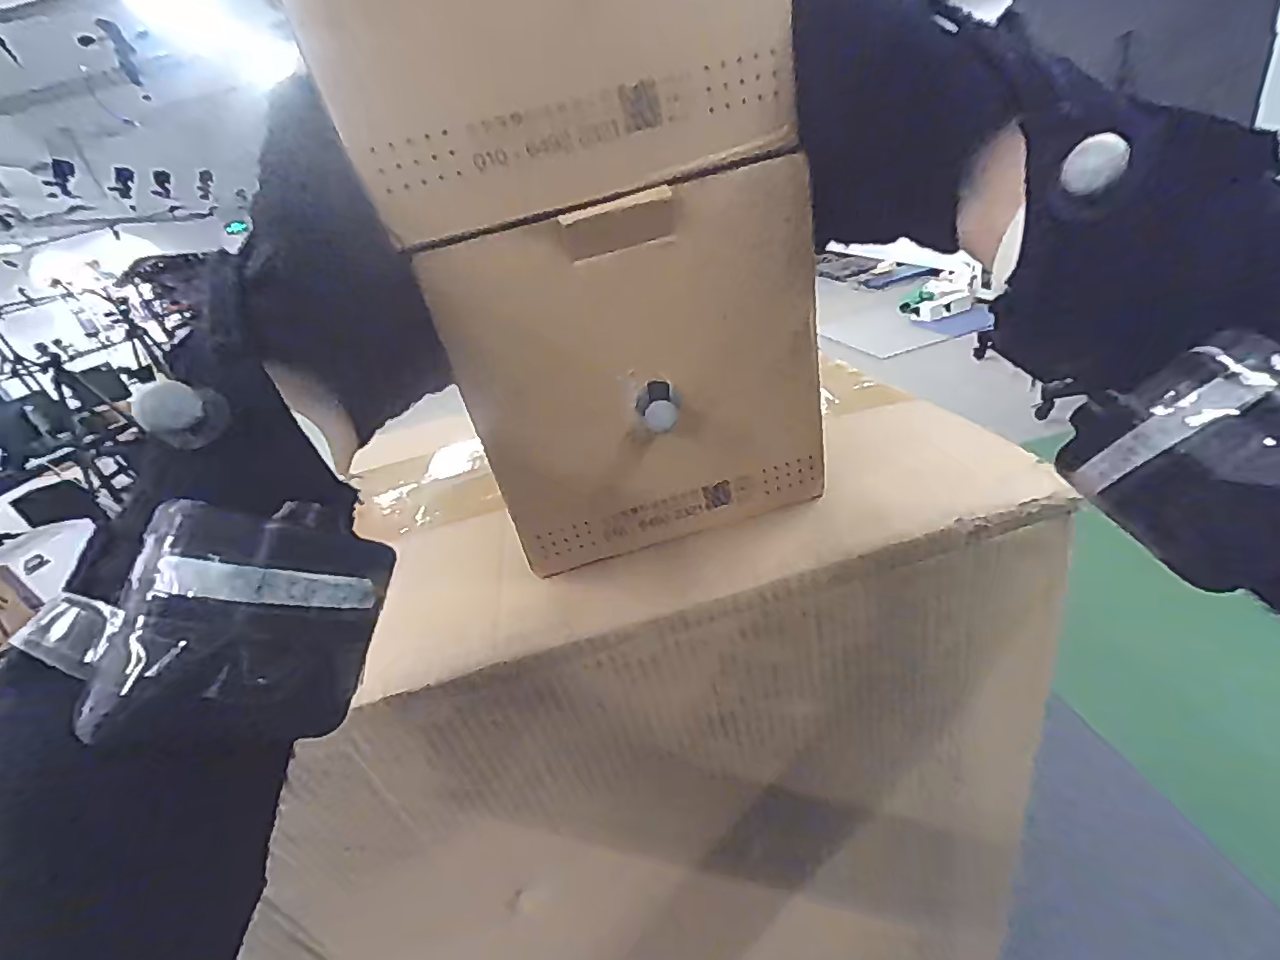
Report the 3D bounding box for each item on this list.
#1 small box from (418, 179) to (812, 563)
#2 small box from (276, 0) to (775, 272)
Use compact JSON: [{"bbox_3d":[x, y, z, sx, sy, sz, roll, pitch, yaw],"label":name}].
[{"bbox_3d":[-0.008,-0.069,0.329,0.168,0.176,0.179,-16,30,-3],"label":"small box"},{"bbox_3d":[-0.050,-0.203,0.247,0.168,0.176,0.179,-15,29,-4],"label":"small box"}]
